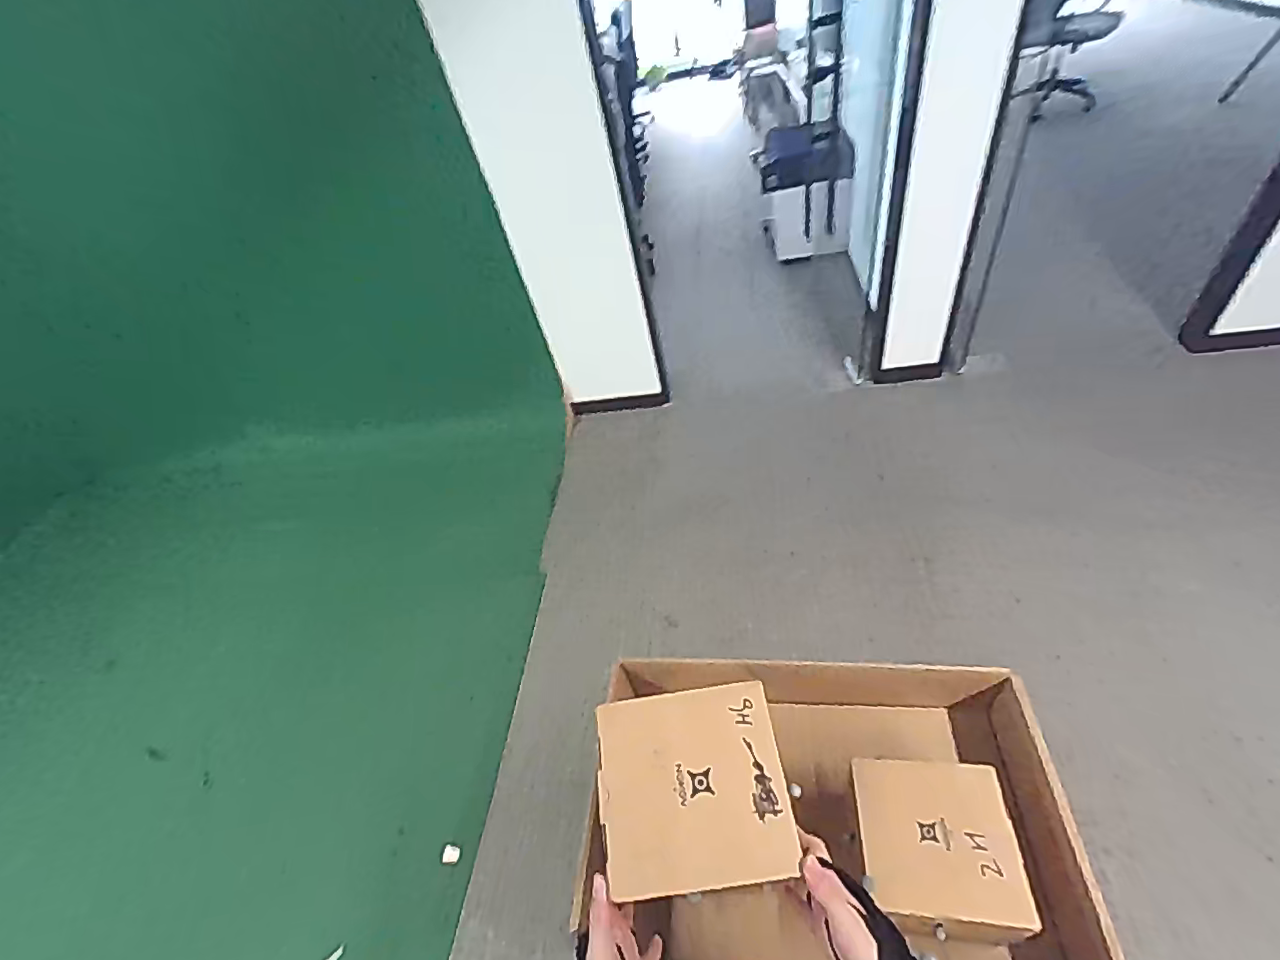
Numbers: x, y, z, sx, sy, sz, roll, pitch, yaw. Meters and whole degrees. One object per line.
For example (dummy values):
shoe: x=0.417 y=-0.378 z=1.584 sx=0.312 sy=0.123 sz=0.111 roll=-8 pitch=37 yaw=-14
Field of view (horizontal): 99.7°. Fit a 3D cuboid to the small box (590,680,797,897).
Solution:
small box: x=0.053 y=0.326 z=0.573 sx=0.179 sy=0.176 sz=0.168 roll=-9 pitch=57 yaw=2
